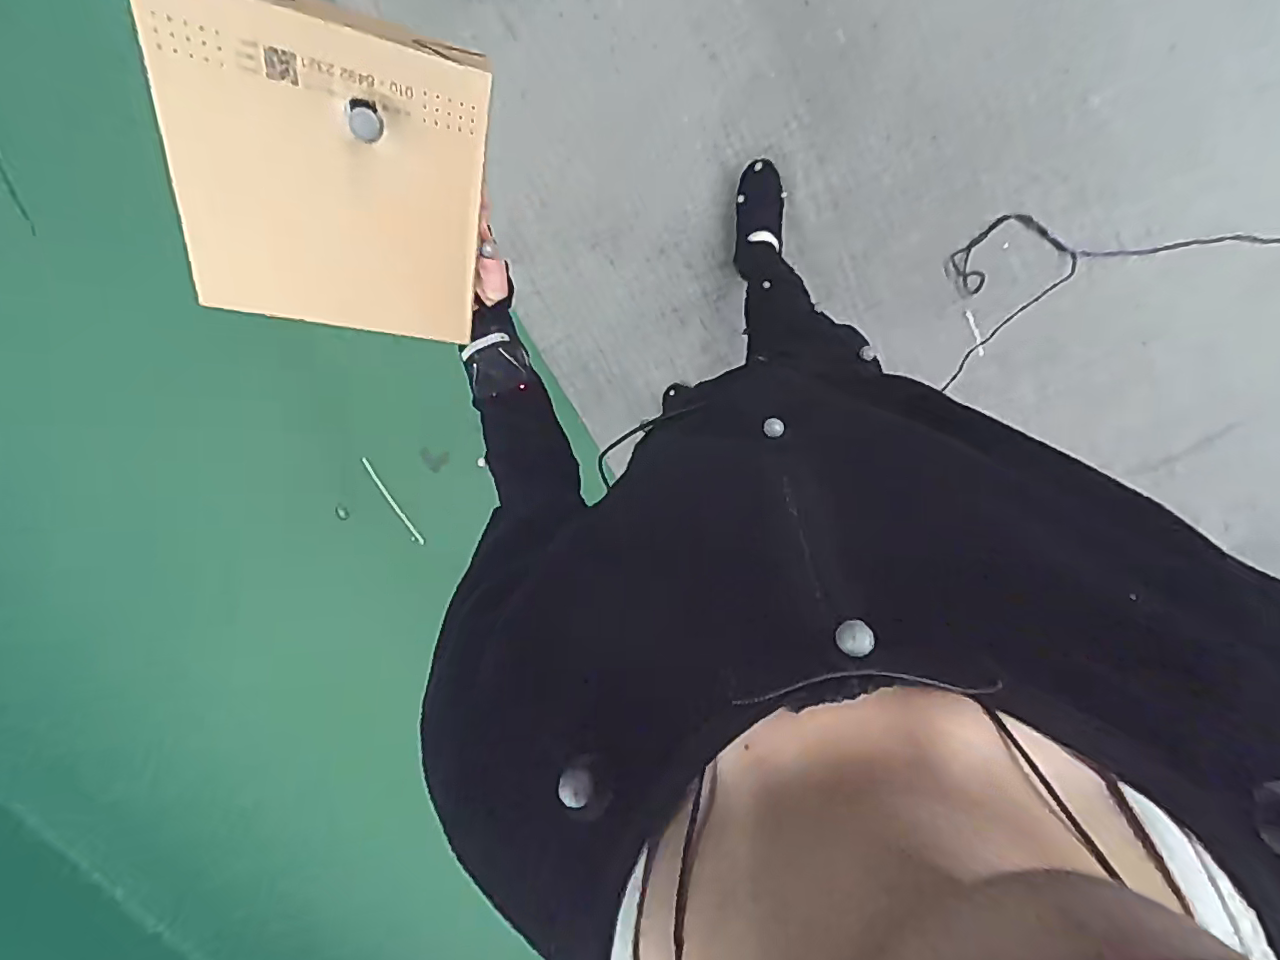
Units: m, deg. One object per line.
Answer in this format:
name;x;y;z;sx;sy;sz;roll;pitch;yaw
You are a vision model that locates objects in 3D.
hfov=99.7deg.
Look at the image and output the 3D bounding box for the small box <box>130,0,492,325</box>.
small box;-0.194;-0.232;0.367;0.168;0.179;0.176;4;128;-20
